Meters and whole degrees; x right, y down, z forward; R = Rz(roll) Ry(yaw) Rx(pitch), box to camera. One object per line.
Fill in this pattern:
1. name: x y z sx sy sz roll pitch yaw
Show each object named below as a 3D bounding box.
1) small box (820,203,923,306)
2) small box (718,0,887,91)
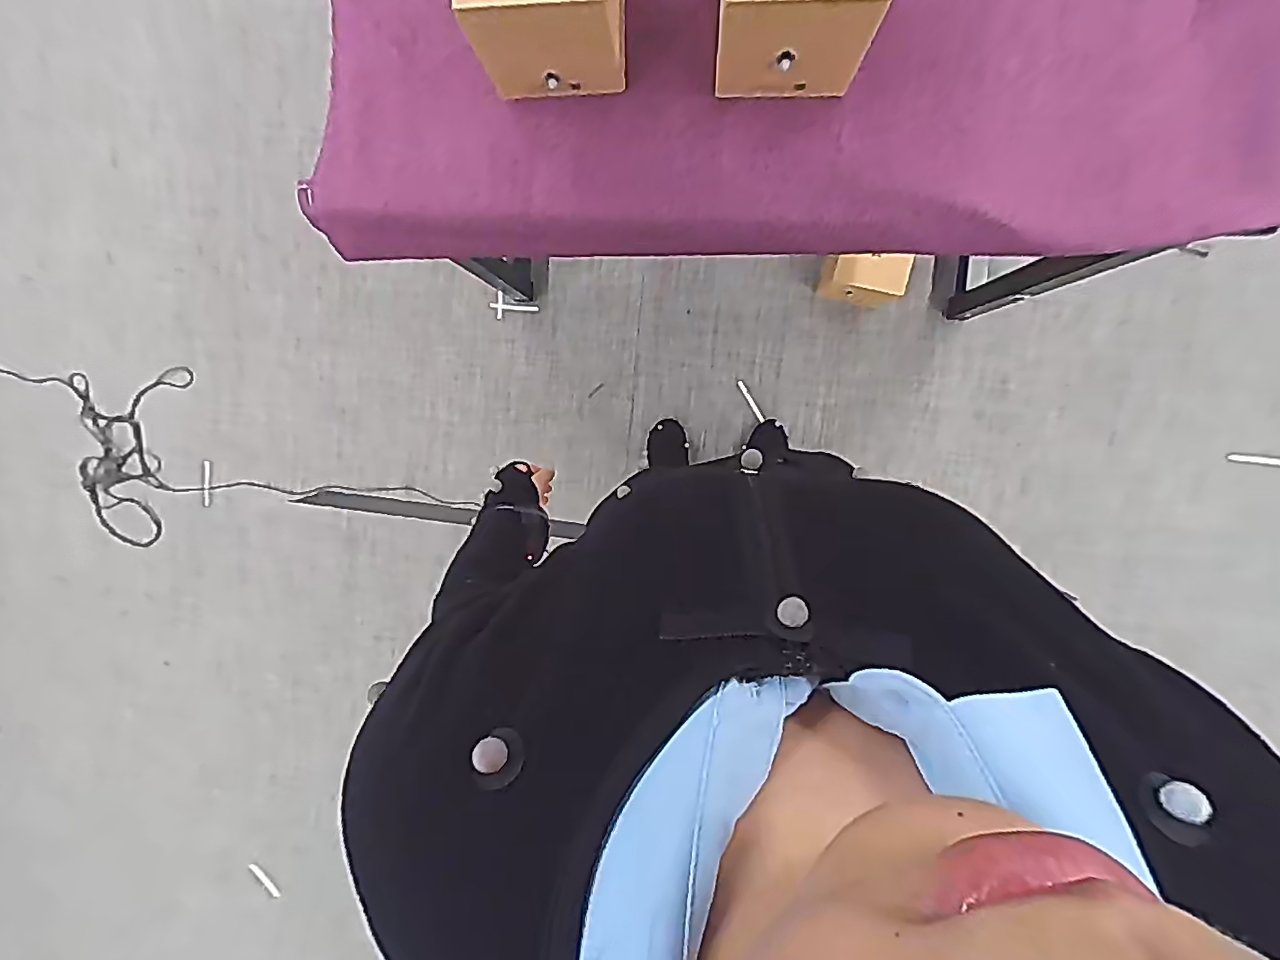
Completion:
1. small box: 0.550 -0.537 1.313 0.168 0.176 0.179 14 97 4
2. small box: 0.178 -0.572 0.604 0.168 0.176 0.179 3 97 4
